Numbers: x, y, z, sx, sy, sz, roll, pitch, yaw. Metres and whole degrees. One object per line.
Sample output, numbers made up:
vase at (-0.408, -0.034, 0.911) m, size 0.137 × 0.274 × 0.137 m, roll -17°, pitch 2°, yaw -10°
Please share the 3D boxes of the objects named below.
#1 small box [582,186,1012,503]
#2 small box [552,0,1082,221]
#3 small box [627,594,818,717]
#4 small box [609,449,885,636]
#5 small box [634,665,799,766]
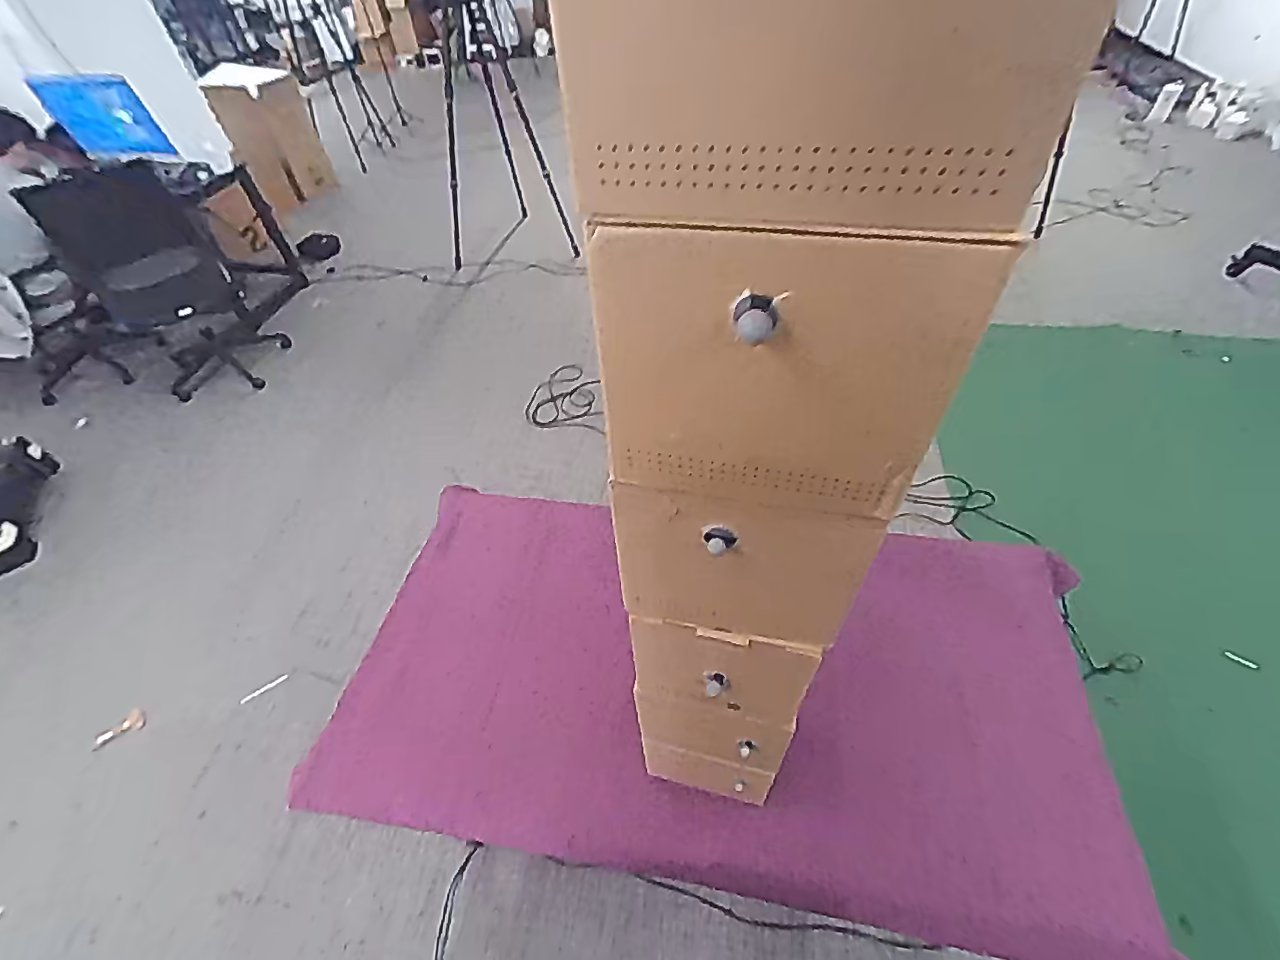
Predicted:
small box at (0.082, -0.103, 0.331) m, size 0.179 × 0.176 × 0.168 m, roll 8°, pitch 48°, yaw 12°
small box at (0.071, -0.220, 0.215) m, size 0.179 × 0.176 × 0.168 m, roll 8°, pitch 48°, yaw 12°
small box at (0.094, 0.122, 0.567) m, size 0.168 × 0.176 × 0.179 m, roll 9°, pitch 49°, yaw 13°
small box at (0.086, 0.008, 0.448) m, size 0.179 × 0.176 × 0.168 m, roll 8°, pitch 48°, yaw 11°
small box at (0.102, 0.238, 0.681) m, size 0.179 × 0.176 × 0.168 m, roll 9°, pitch 49°, yaw 14°
